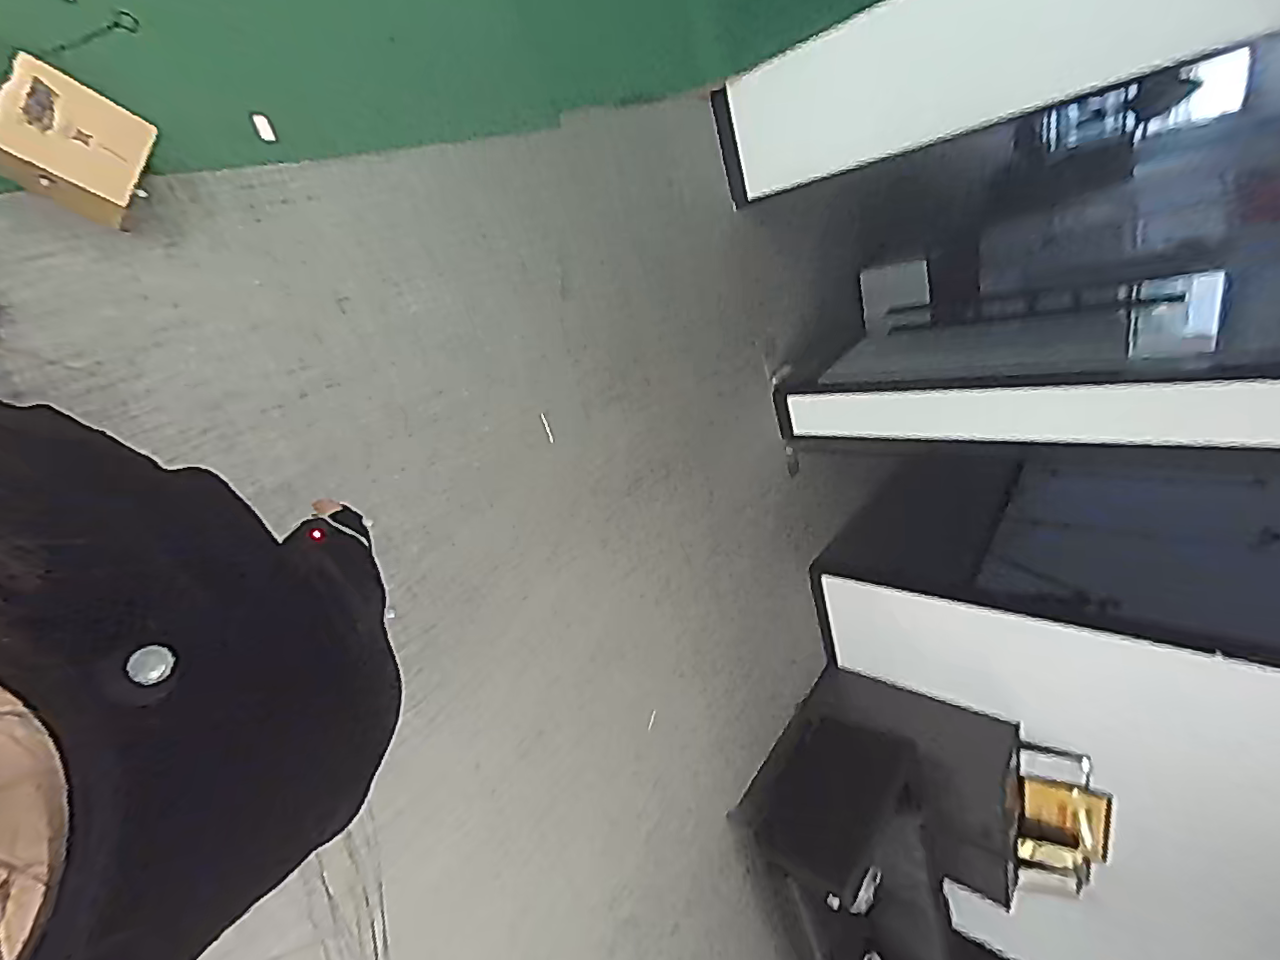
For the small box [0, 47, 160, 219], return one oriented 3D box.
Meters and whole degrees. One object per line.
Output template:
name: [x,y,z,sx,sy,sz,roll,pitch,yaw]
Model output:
small box: [-1.011,-0.601,0.968,0.179,0.176,0.168,24,78,-46]
